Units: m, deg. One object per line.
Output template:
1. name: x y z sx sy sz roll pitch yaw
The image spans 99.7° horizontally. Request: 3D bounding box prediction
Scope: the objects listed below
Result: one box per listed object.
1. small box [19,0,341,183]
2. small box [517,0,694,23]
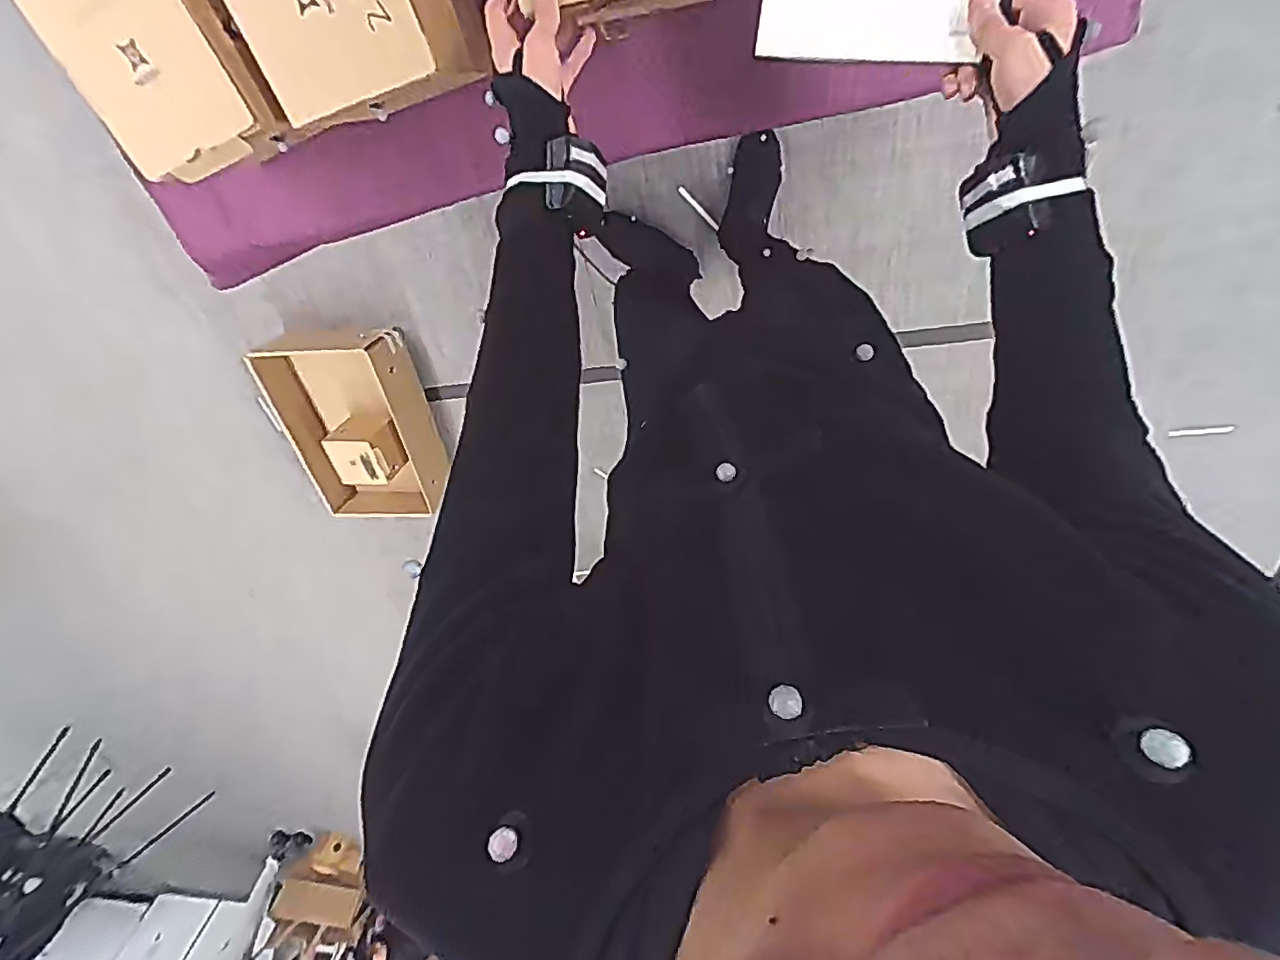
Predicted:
1. small box: -0.478 -0.459 0.594 0.168 0.176 0.179 -12 123 17
2. small box: -0.026 -0.524 0.470 0.168 0.176 0.179 -3 125 11
